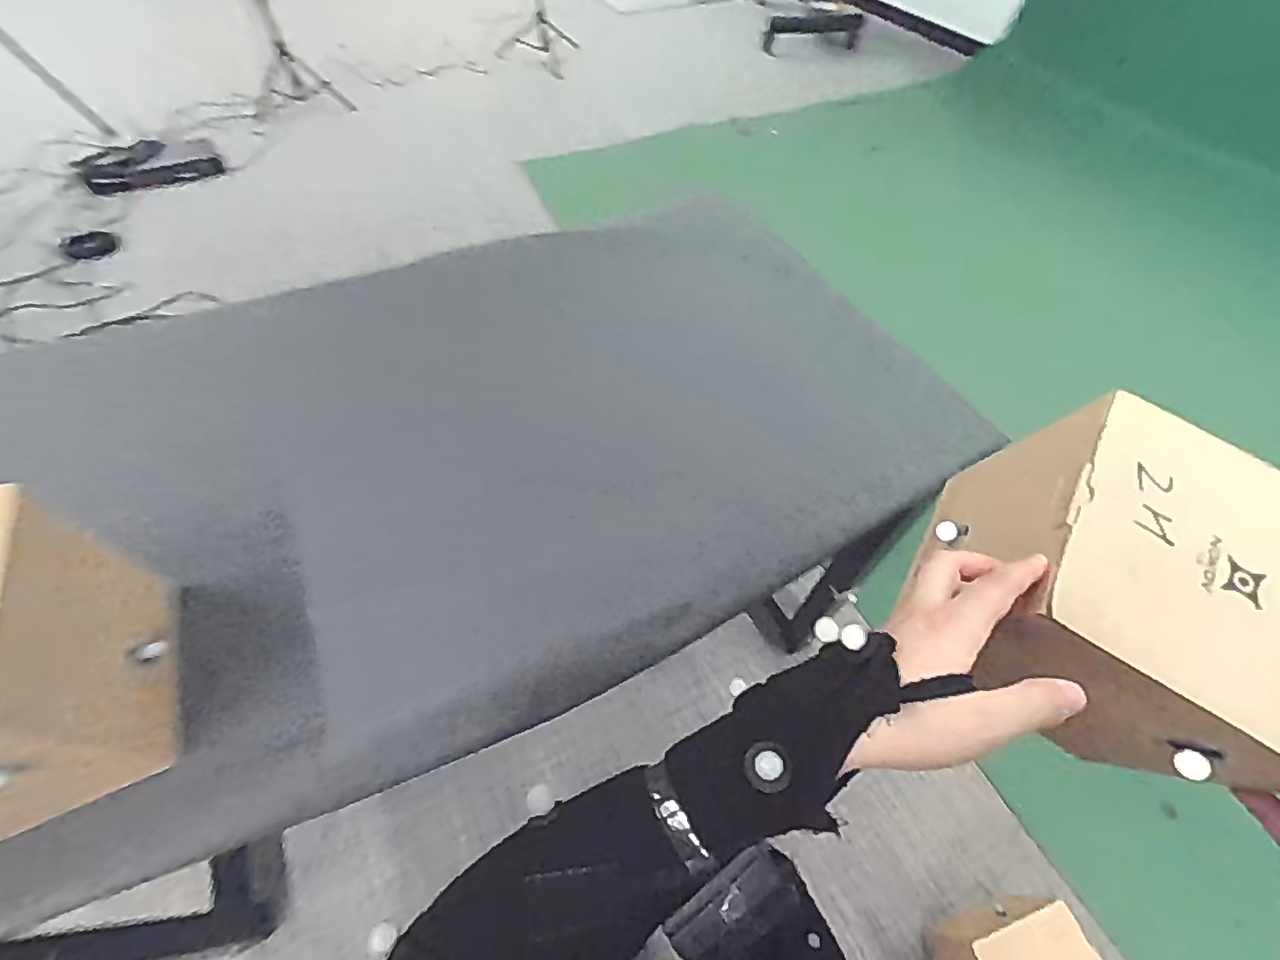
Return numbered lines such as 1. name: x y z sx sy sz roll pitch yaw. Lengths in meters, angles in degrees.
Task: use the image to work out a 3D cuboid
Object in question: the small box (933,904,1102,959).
1. small box: 0.600 0.785 0.833 0.179 0.176 0.168 -14 57 -11
